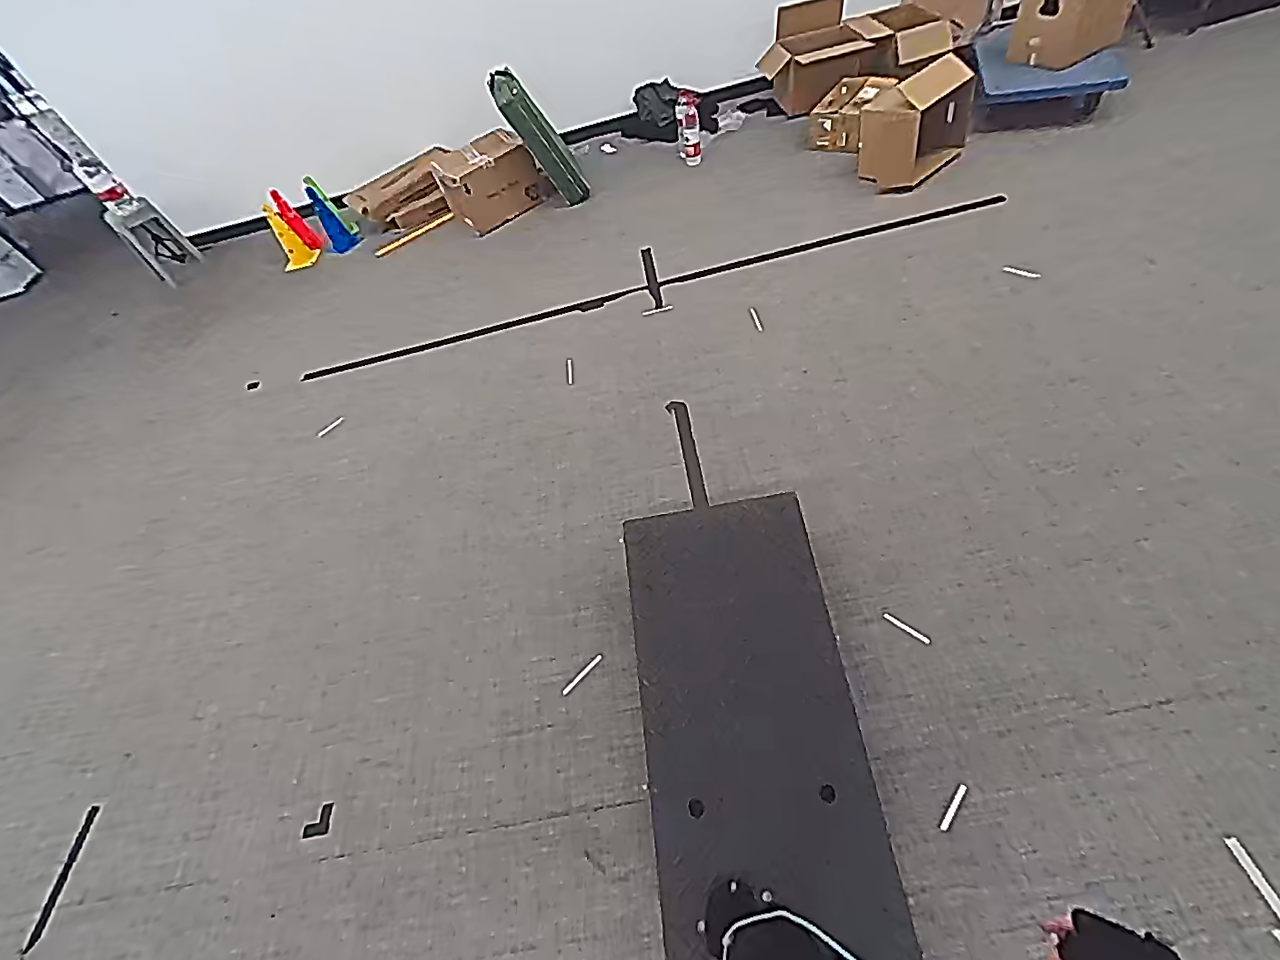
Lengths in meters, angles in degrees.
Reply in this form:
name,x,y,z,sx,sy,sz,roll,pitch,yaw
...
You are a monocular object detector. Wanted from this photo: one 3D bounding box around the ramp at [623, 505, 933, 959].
name,x,y,z,sx,sy,sz,roll,pitch,yaw
ramp,0.256,0.548,1.280,0.509,0.206,0.991,-13,51,4
